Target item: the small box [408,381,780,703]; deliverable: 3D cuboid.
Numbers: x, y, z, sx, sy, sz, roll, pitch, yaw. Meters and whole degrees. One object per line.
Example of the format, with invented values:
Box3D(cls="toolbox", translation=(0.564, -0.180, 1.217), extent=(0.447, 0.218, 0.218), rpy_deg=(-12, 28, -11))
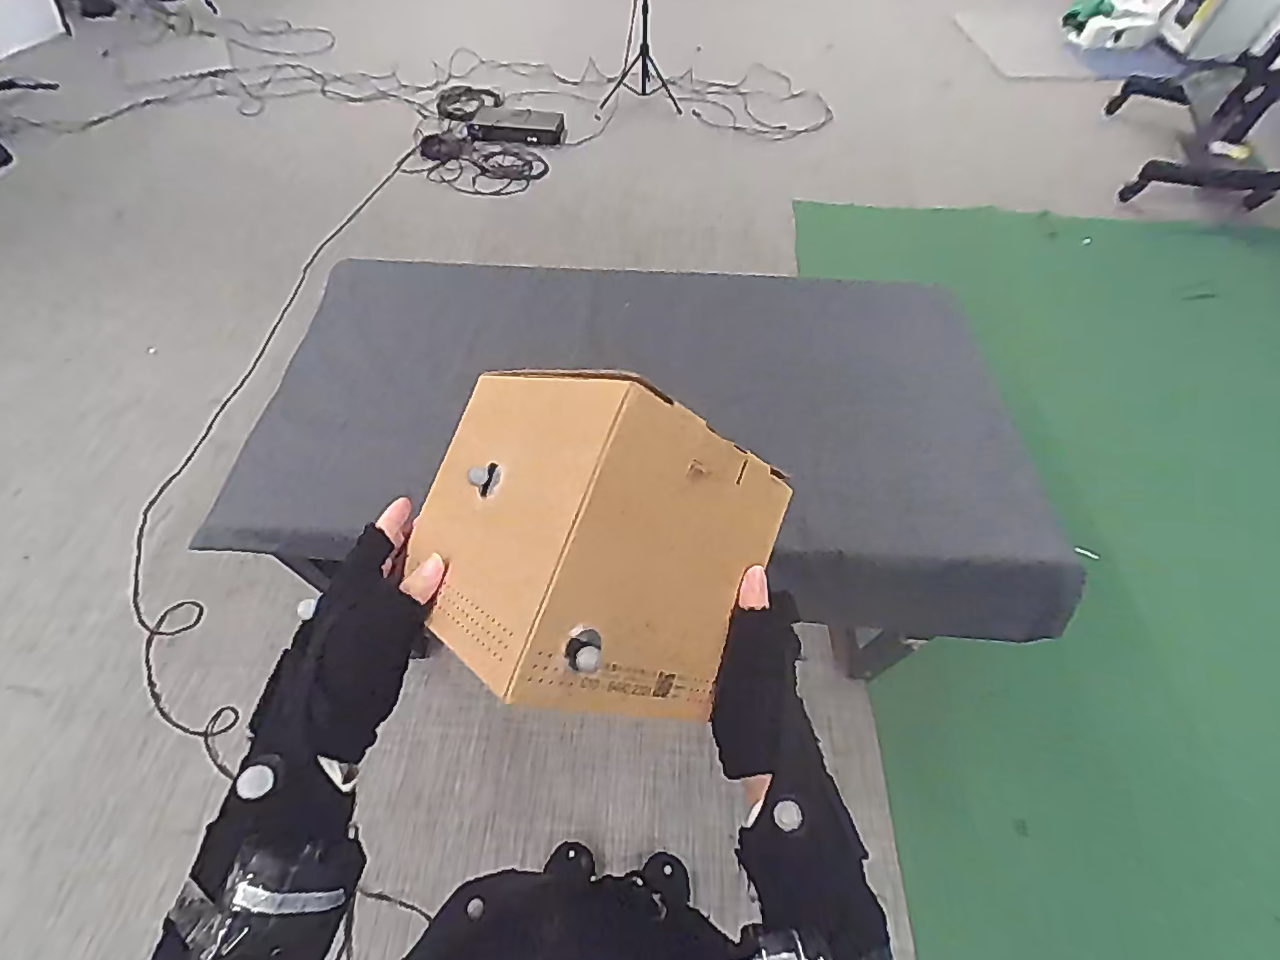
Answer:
Box3D(cls="small box", translation=(-0.035, 0.043, 0.391), extent=(0.179, 0.168, 0.176), rpy_deg=(12, 77, 47))
